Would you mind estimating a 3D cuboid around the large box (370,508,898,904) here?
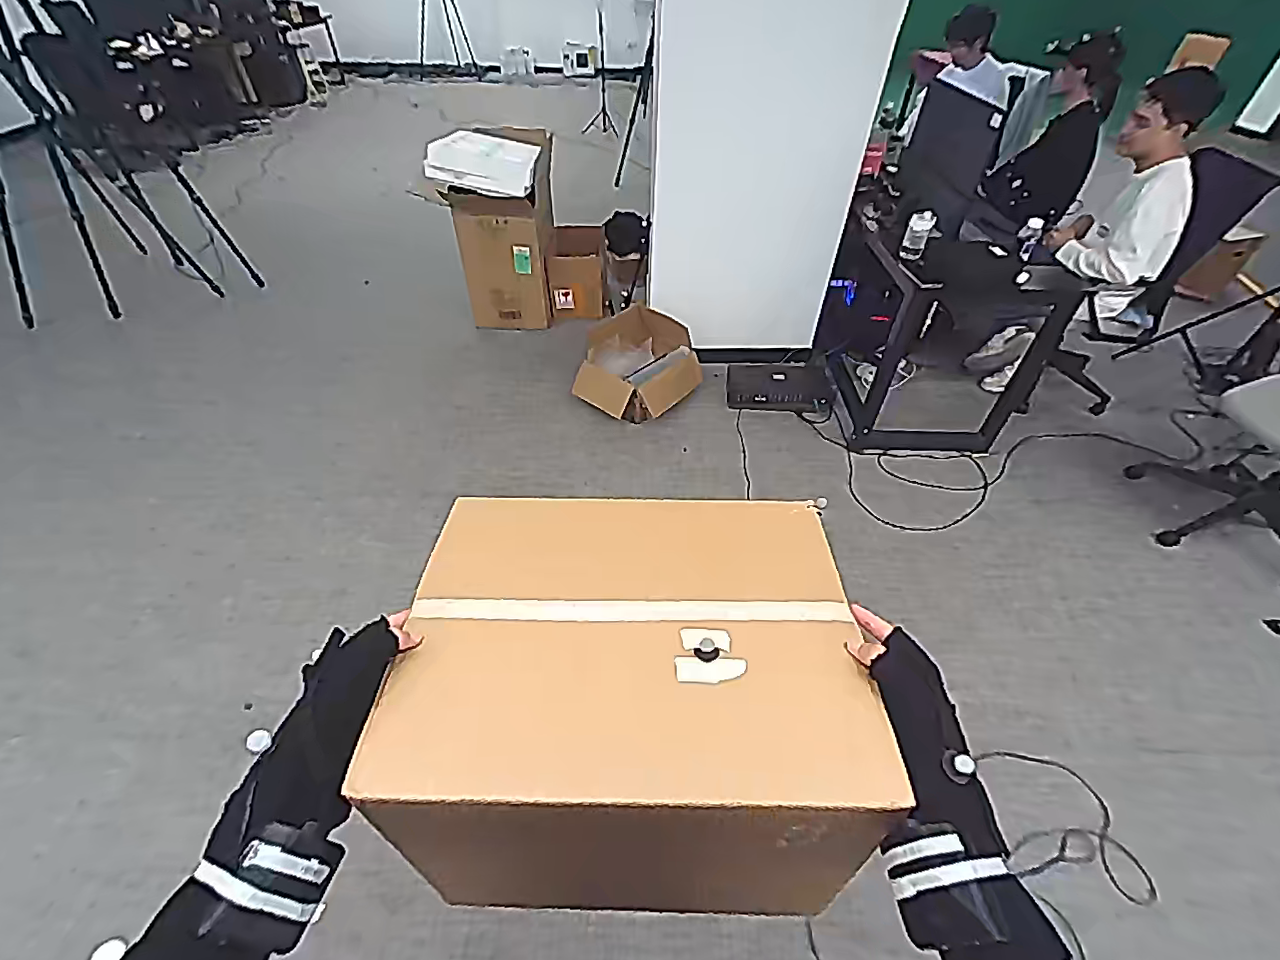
[{"bbox_3d":[-0.005,0.247,0.607,0.408,0.320,0.320,1,40,1],"label":"large box"}]
